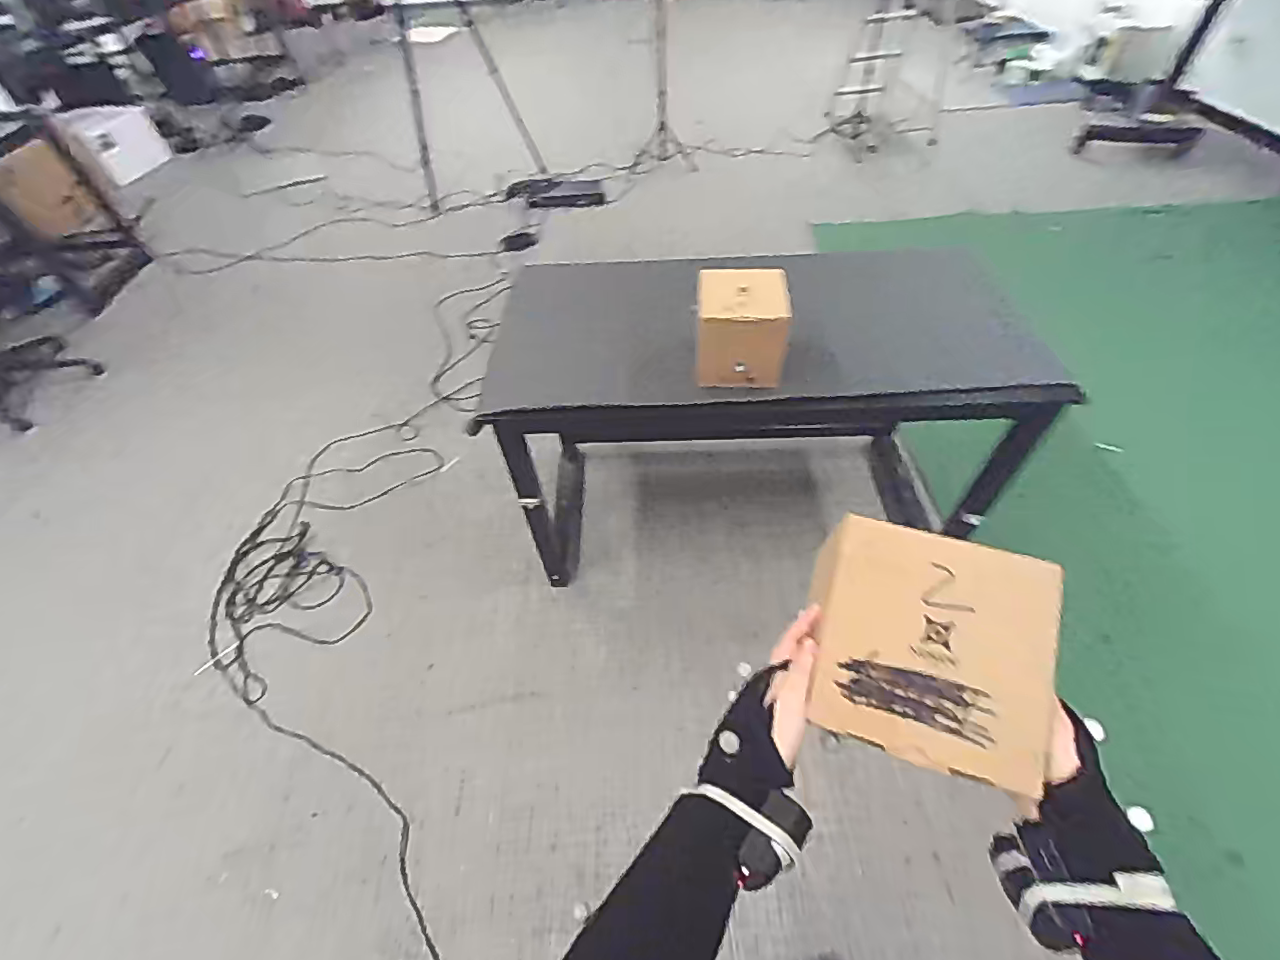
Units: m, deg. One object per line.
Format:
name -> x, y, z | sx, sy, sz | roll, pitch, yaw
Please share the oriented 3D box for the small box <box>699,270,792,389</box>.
small box -> 0.206, -0.308, 1.107 | 0.168, 0.176, 0.179 | 2, 50, 5
